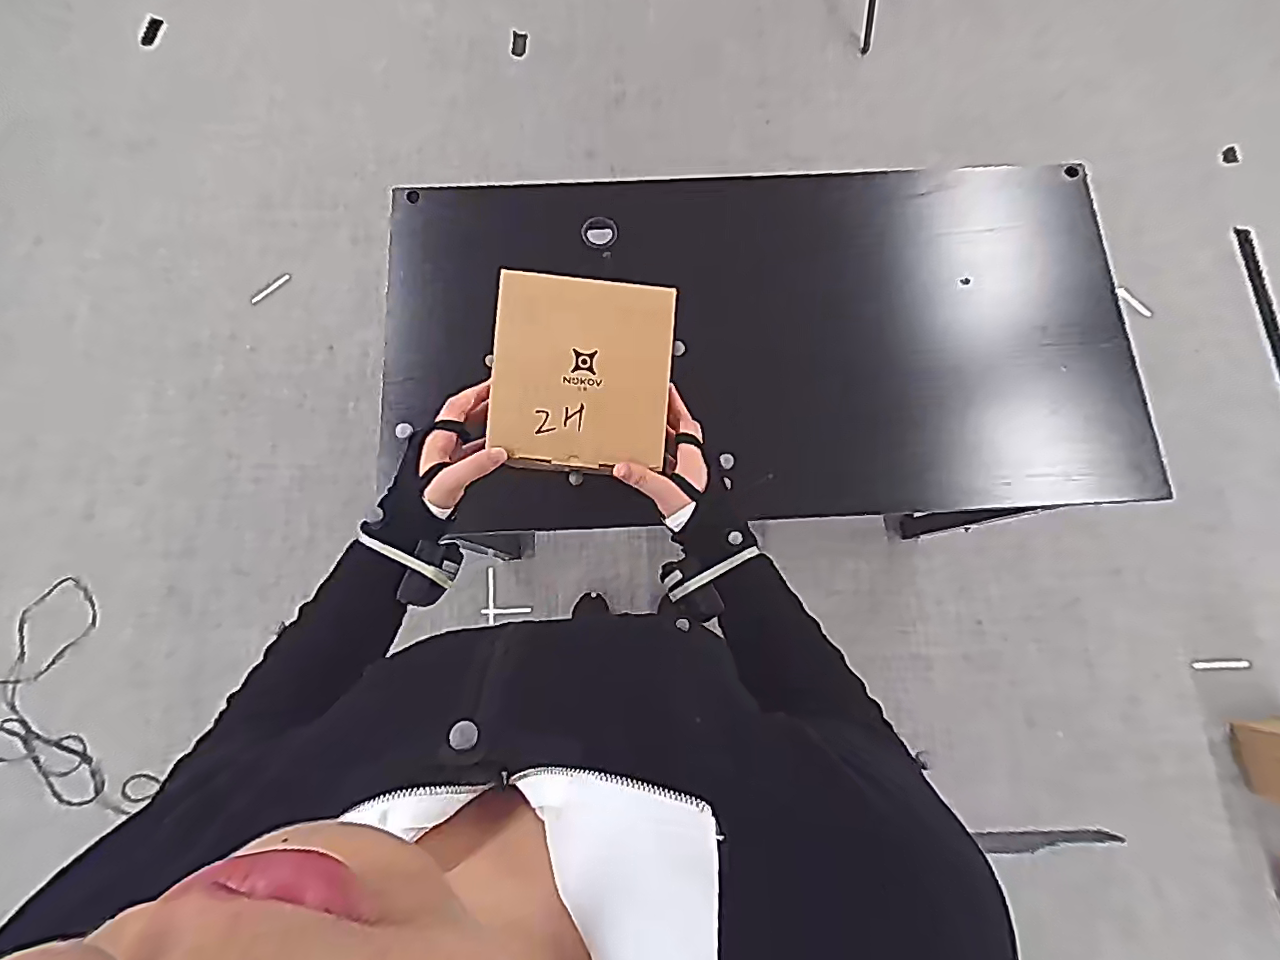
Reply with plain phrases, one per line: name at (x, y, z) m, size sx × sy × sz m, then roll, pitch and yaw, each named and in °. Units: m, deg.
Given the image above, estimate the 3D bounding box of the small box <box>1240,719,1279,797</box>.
small box at (1.661, 0.698, 1.335) m, size 0.168 × 0.176 × 0.179 m, roll -4°, pitch 78°, yaw -1°

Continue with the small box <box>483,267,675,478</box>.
small box at (-0.063, -0.100, 0.582) m, size 0.168 × 0.176 × 0.179 m, roll 5°, pitch 87°, yaw -5°
